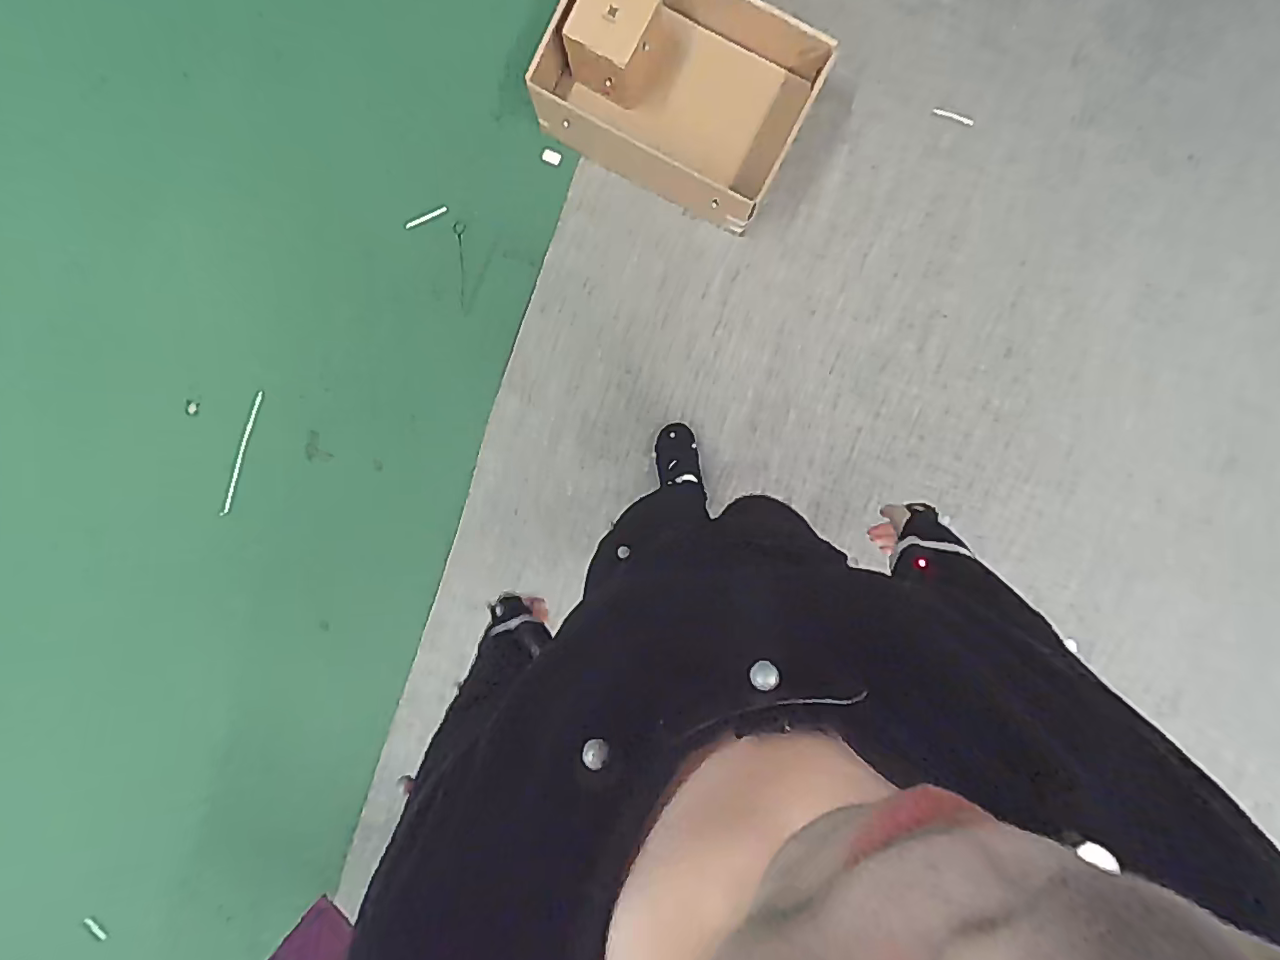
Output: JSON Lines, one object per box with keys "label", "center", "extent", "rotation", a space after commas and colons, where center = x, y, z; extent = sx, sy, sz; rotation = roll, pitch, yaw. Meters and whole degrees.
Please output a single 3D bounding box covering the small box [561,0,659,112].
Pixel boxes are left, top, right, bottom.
{"label": "small box", "center": [-0.064, -1.031, 1.285], "extent": [0.168, 0.176, 0.179], "rotation": [30, 95, -1]}
